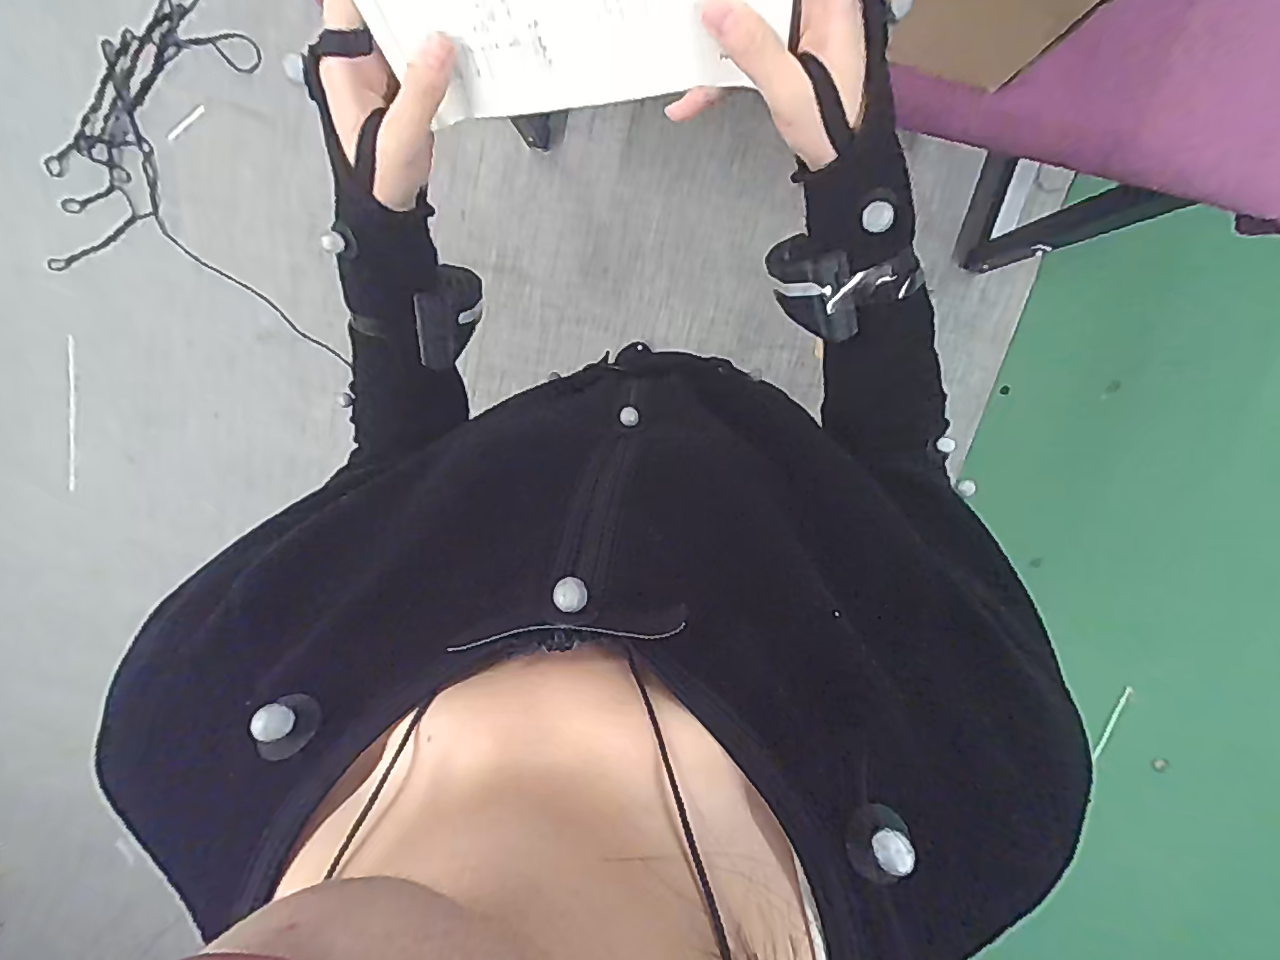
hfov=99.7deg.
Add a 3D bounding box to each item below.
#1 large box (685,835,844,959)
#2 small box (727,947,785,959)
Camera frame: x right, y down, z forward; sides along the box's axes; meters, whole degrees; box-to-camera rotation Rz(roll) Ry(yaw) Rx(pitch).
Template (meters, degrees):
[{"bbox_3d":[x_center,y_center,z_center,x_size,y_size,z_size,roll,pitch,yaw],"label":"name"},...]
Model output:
[{"bbox_3d":[0.339,1.301,1.586,0.408,0.320,0.320,0,102,2],"label":"large box"},{"bbox_3d":[0.298,1.316,1.339,0.168,0.176,0.179,6,101,4],"label":"small box"}]
